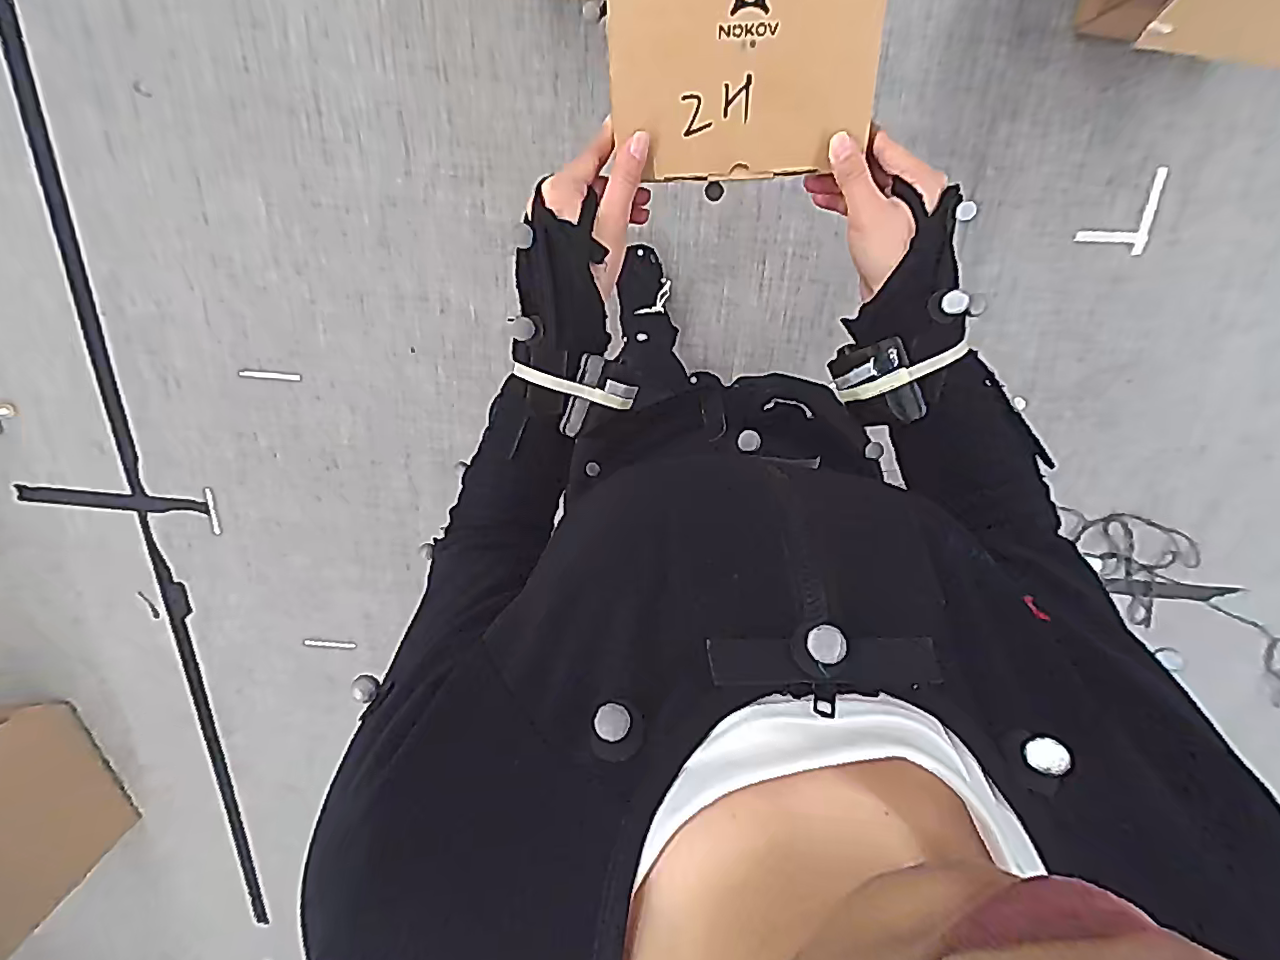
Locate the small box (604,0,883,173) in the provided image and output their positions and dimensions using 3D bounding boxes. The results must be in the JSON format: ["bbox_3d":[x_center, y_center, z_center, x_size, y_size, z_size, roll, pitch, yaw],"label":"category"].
[{"bbox_3d":[0.058,-0.323,0.385,0.168,0.176,0.179,-3,119,0],"label":"small box"}]
